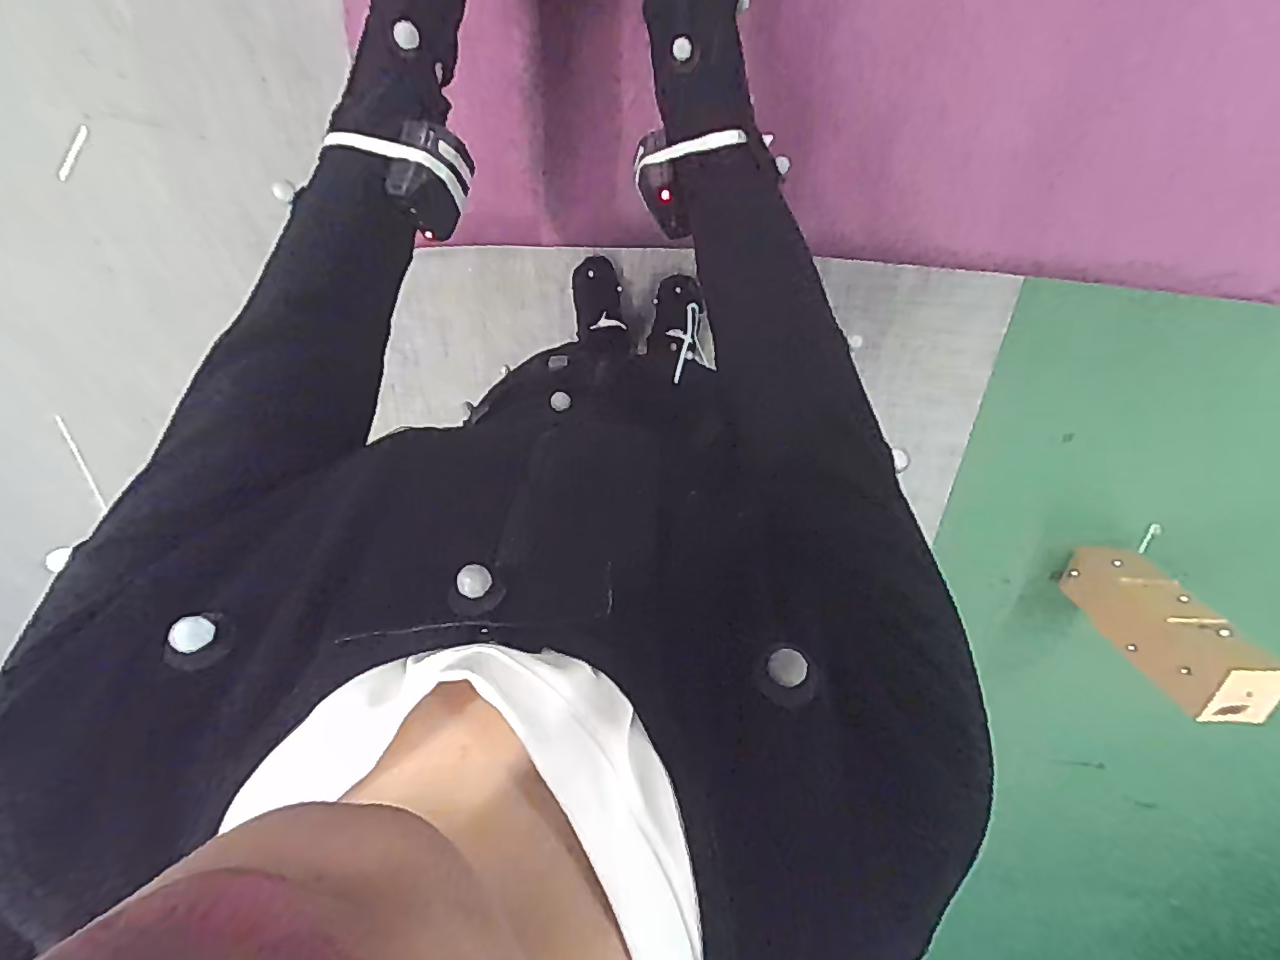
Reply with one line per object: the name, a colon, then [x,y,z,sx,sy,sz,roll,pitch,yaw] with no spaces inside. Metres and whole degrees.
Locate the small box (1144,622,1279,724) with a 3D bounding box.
small box: [1.437,0.484,1.358,0.168,0.176,0.179,1,117,-1]

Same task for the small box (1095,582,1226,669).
small box: [1.429,0.401,1.501,0.168,0.176,0.179,3,118,-1]
